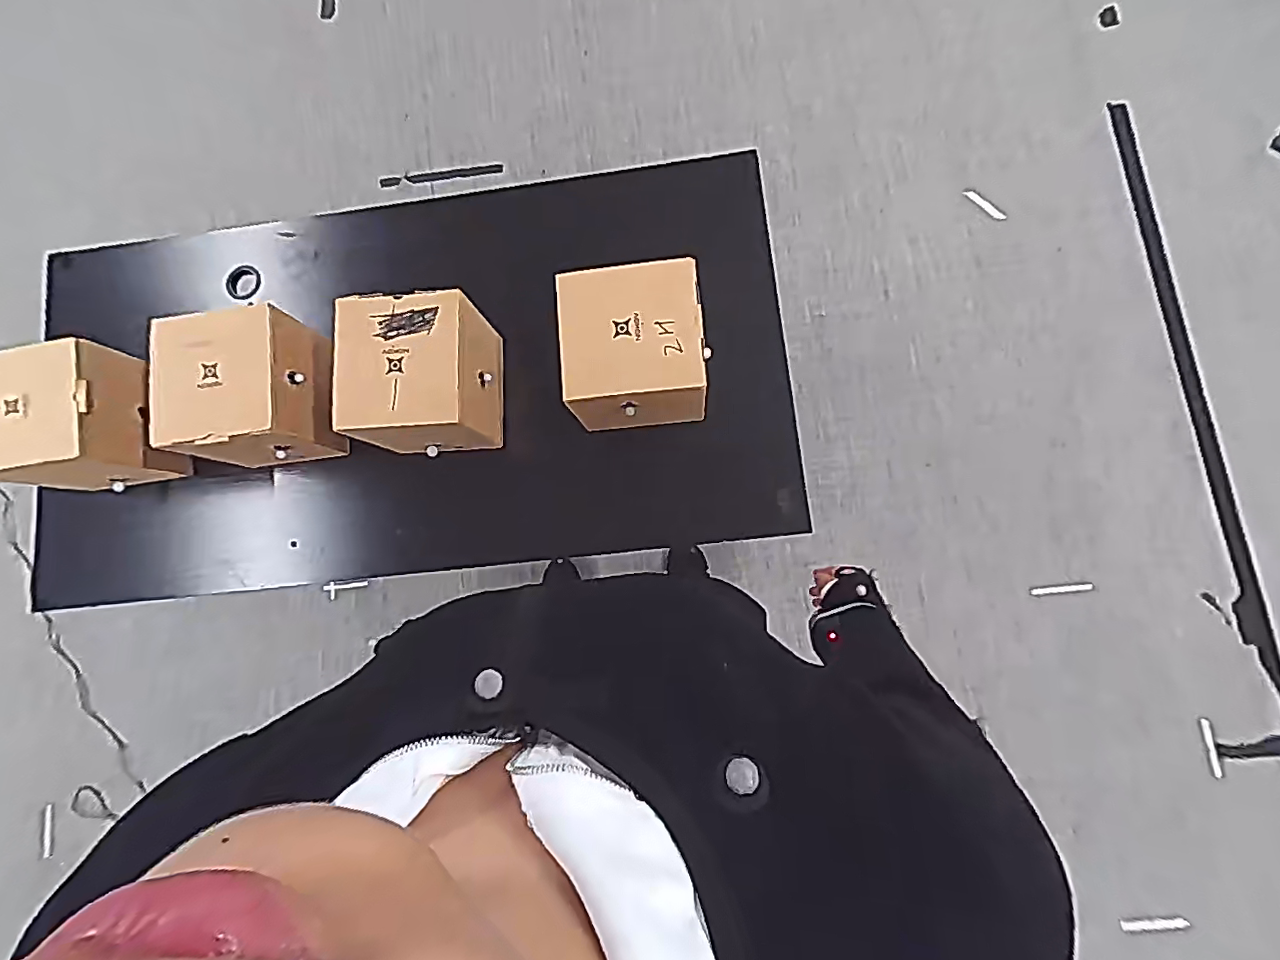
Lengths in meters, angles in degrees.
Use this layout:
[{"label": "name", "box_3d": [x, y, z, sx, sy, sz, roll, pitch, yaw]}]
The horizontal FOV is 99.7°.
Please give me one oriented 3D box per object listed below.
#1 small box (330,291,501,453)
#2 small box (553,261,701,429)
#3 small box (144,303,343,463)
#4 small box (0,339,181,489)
[{"label": "small box", "box_3d": [-0.300, -0.140, 0.754, 0.168, 0.176, 0.179, -3, 83, 3]}, {"label": "small box", "box_3d": [-0.011, -0.171, 0.737, 0.179, 0.176, 0.168, -5, 82, 4]}, {"label": "small box", "box_3d": [-0.549, -0.125, 0.770, 0.168, 0.176, 0.179, -7, 81, 2]}, {"label": "small box", "box_3d": [-0.808, -0.085, 0.781, 0.179, 0.176, 0.168, -8, 82, 2]}]
